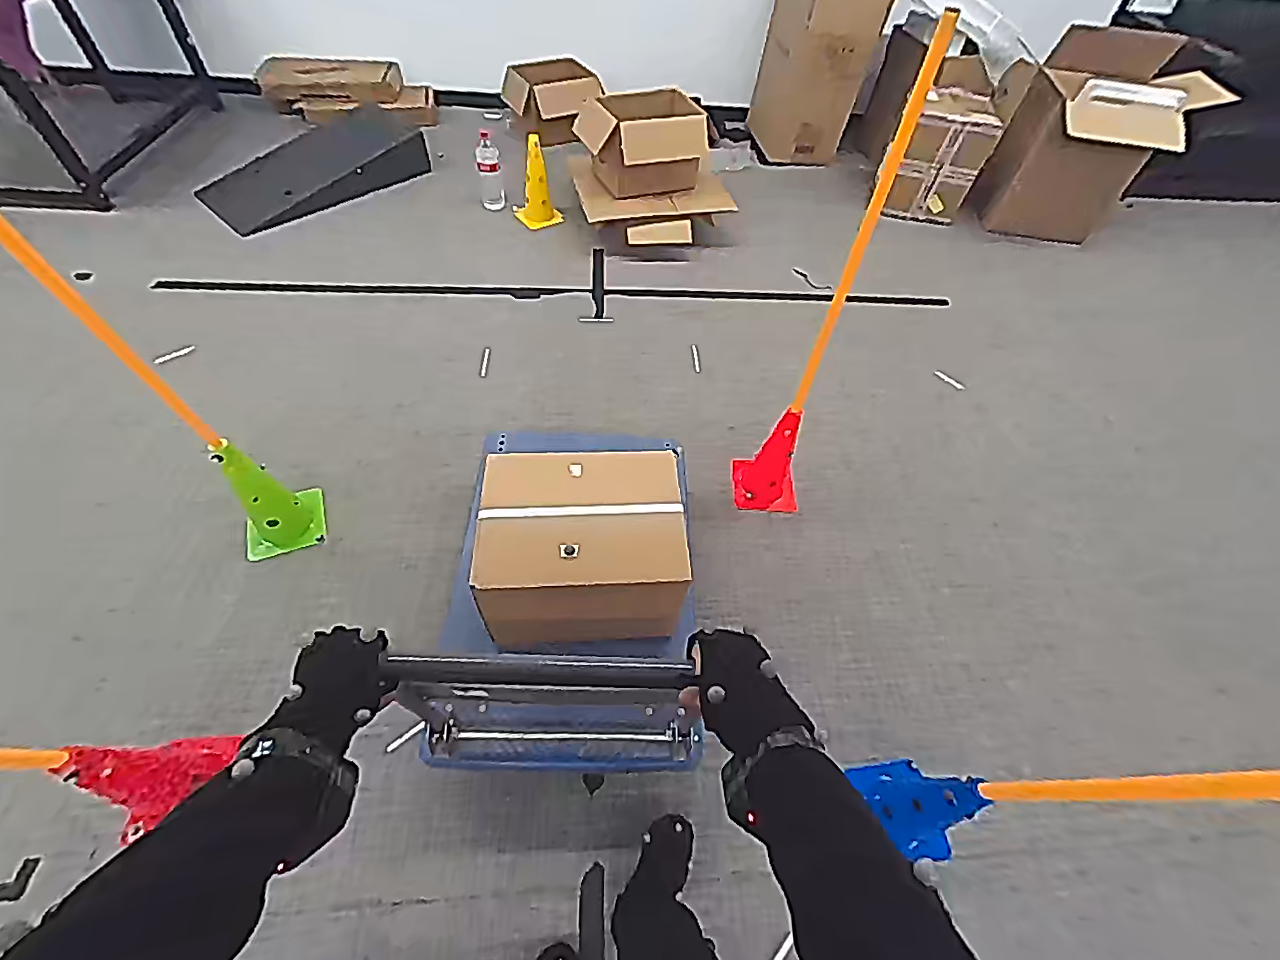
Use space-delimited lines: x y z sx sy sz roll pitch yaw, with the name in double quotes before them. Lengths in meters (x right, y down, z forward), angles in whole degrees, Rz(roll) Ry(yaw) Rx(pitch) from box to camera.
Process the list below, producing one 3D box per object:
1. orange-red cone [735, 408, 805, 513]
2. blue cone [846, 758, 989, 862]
"orange-red cone" 0.423 -0.082 1.620 0.199 0.360 0.198 6 54 -2
"blue cone" 0.597 0.651 1.107 0.193 0.380 0.192 -3 53 -8
